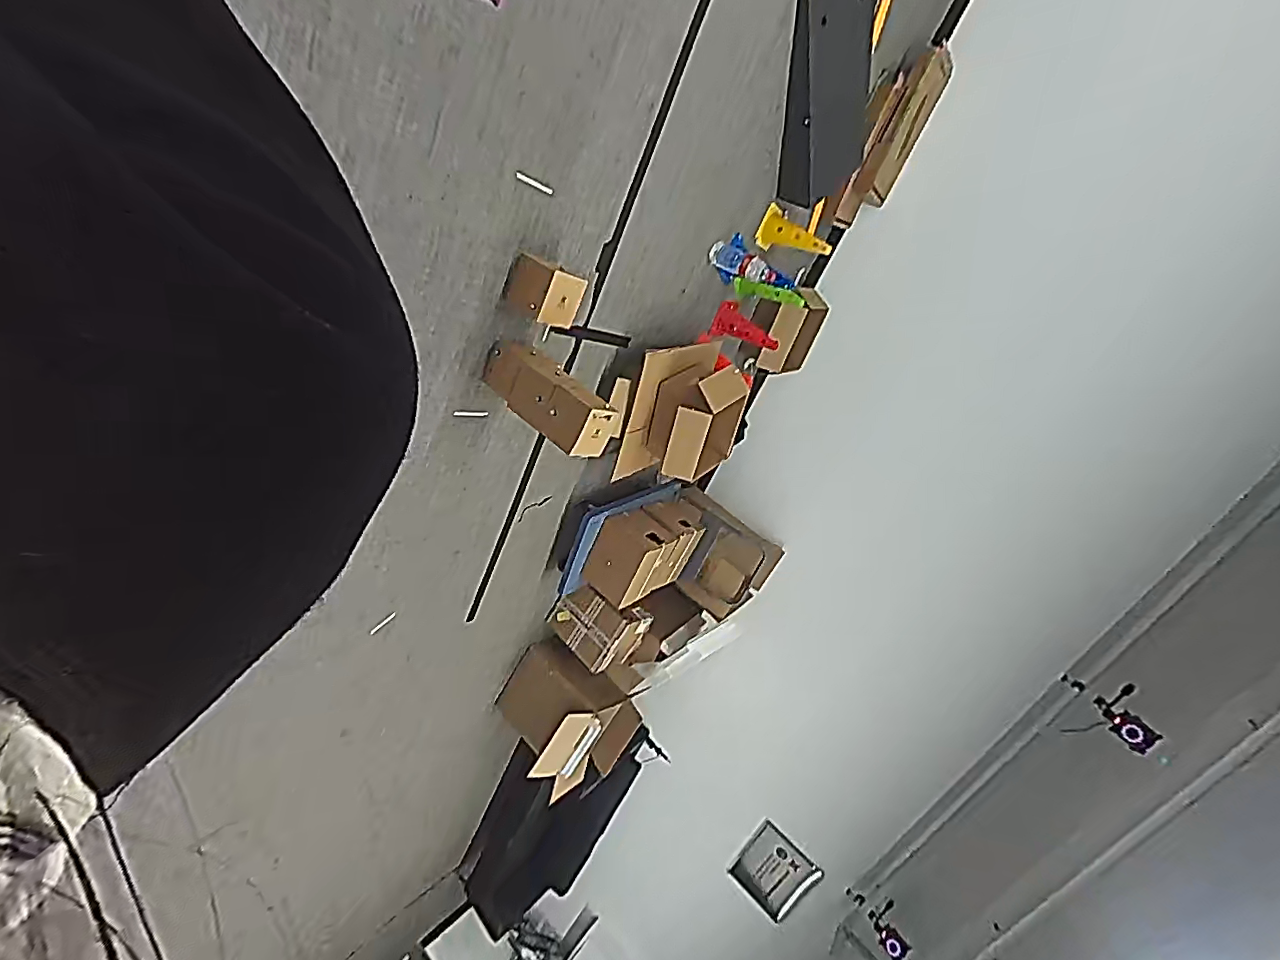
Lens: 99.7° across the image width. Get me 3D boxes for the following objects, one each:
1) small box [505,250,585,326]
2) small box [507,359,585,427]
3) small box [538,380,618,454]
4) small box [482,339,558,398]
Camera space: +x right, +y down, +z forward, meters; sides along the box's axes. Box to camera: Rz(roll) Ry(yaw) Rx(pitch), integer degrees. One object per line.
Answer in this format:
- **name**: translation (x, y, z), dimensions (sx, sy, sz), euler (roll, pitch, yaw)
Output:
- **small box**: translation (-0.322, -0.643, 1.809), dimensions (0.168, 0.176, 0.179), euler (-10, 132, -56)
- **small box**: translation (-0.328, -0.296, 1.859), dimensions (0.168, 0.176, 0.179), euler (-7, 130, -56)
- **small box**: translation (-0.211, -0.206, 1.788), dimensions (0.168, 0.176, 0.179), euler (-2, 127, -59)
- **small box**: translation (-0.435, -0.393, 1.941), dimensions (0.179, 0.176, 0.168), euler (-11, 134, -56)
